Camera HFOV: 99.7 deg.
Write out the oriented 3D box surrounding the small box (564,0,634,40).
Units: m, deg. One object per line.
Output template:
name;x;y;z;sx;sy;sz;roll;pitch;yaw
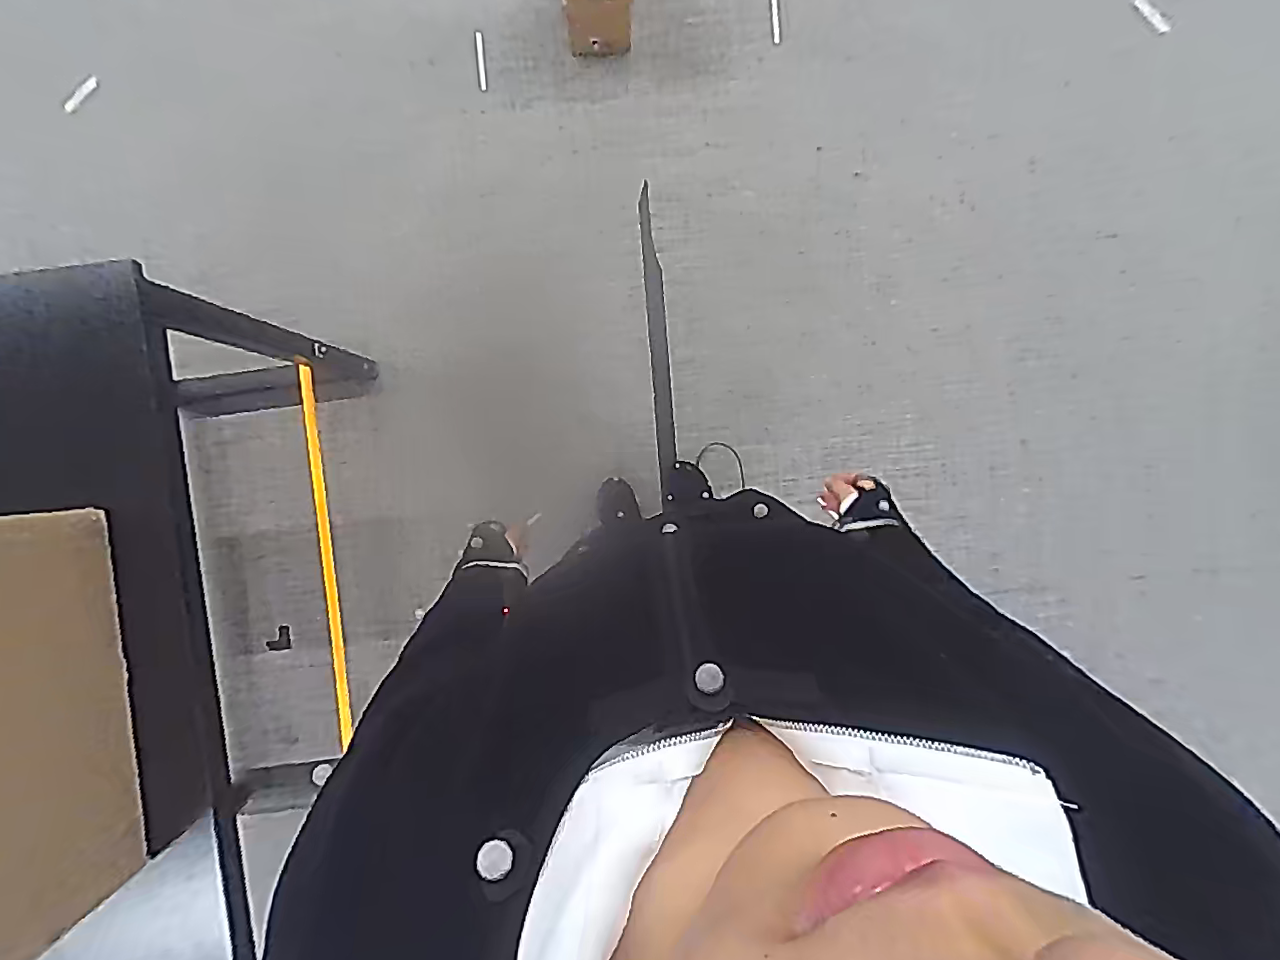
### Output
small box;-0.103;-1.202;1.284;0.168;0.176;0.179;-6;94;1
